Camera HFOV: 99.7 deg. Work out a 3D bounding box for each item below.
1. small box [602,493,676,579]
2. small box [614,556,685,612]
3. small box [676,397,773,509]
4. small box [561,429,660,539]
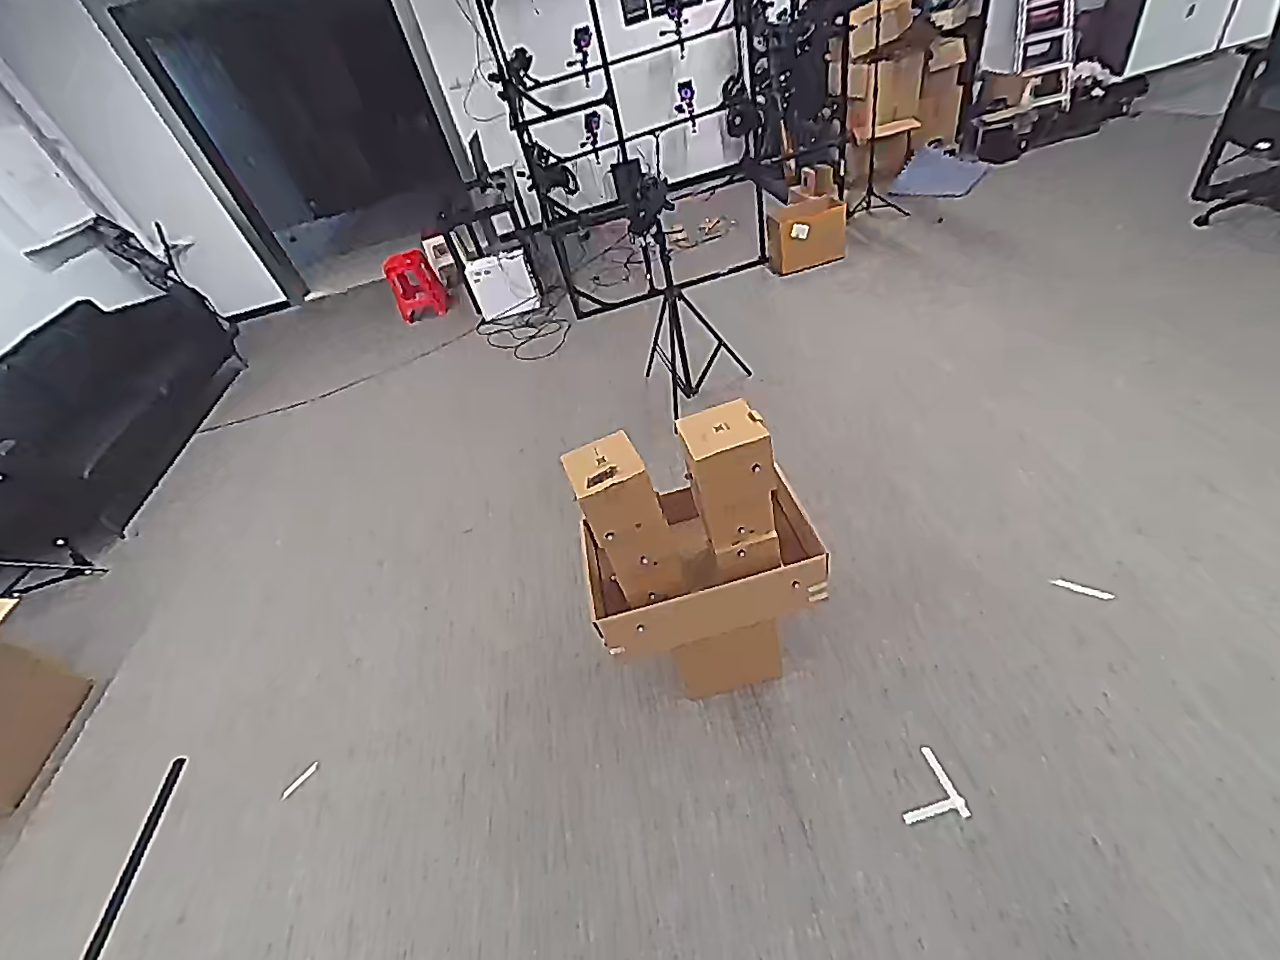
[{"bbox_3d":[-0.021,0.121,1.395,0.168,0.176,0.179,-22,42,-4],"label":"small box"},{"bbox_3d":[0.012,0.233,1.511,0.168,0.176,0.179,-22,42,-5],"label":"small box"},{"bbox_3d":[0.200,-0.062,1.265,0.179,0.176,0.168,-19,40,-2],"label":"small box"},{"bbox_3d":[-0.067,0.017,1.275,0.168,0.176,0.179,-23,42,-6],"label":"small box"}]
